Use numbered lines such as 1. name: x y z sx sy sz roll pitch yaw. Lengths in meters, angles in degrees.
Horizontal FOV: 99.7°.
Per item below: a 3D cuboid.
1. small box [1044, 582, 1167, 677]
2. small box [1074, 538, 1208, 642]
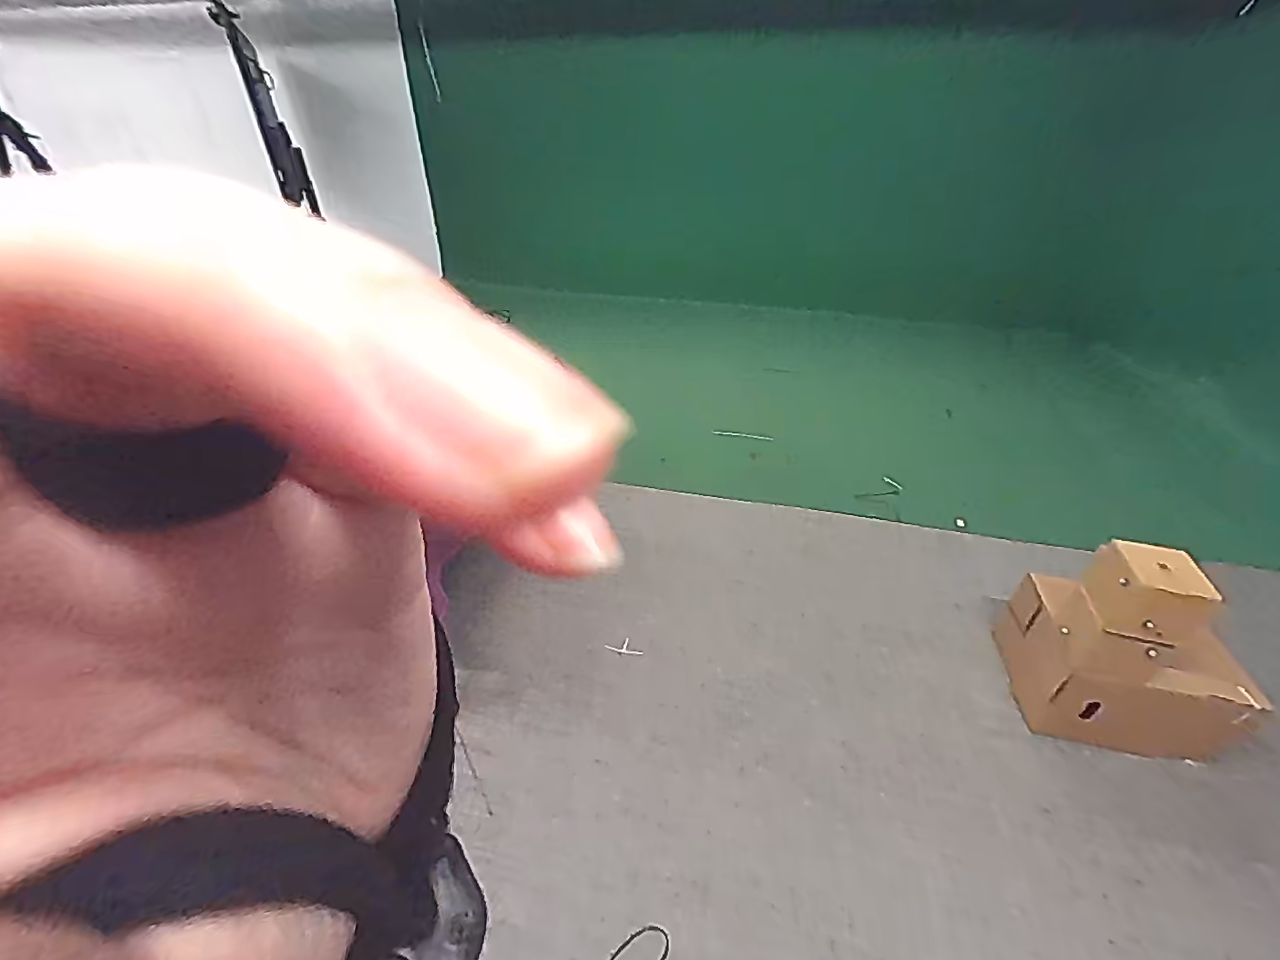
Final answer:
1. small box: 1.260 0.412 1.480 0.179 0.176 0.168 10 35 12
2. small box: 1.266 0.279 1.385 0.168 0.176 0.179 10 37 12
